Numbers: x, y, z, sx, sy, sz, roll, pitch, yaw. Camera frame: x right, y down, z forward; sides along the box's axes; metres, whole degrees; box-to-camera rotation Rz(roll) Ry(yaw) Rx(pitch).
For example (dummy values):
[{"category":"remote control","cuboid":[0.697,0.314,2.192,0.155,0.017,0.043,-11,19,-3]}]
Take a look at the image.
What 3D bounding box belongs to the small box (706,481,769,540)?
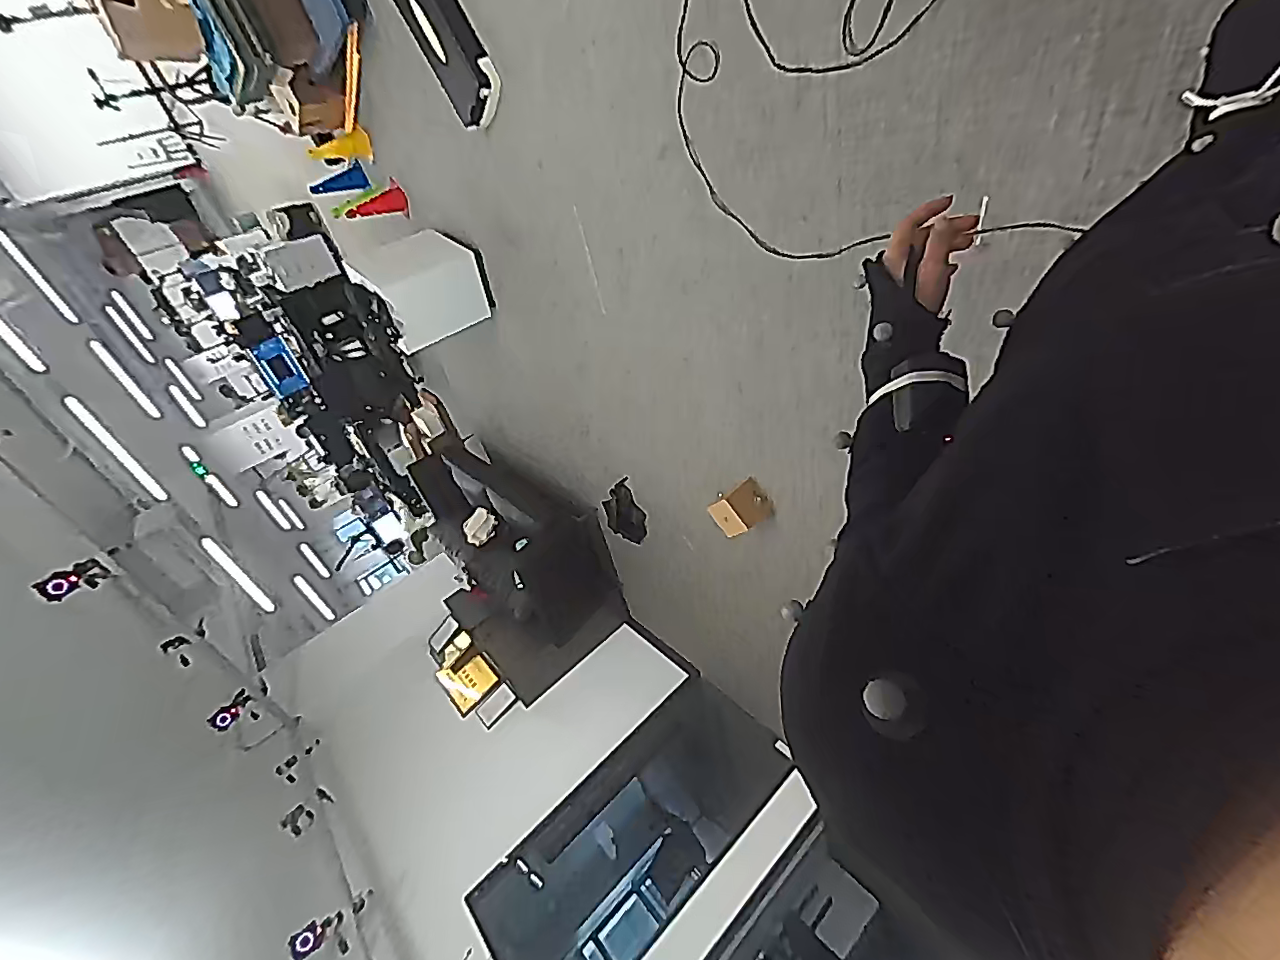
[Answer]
[{"category":"small box","cuboid":[0.420,0.132,2.314,0.168,0.176,0.179,52,154,2]}]
